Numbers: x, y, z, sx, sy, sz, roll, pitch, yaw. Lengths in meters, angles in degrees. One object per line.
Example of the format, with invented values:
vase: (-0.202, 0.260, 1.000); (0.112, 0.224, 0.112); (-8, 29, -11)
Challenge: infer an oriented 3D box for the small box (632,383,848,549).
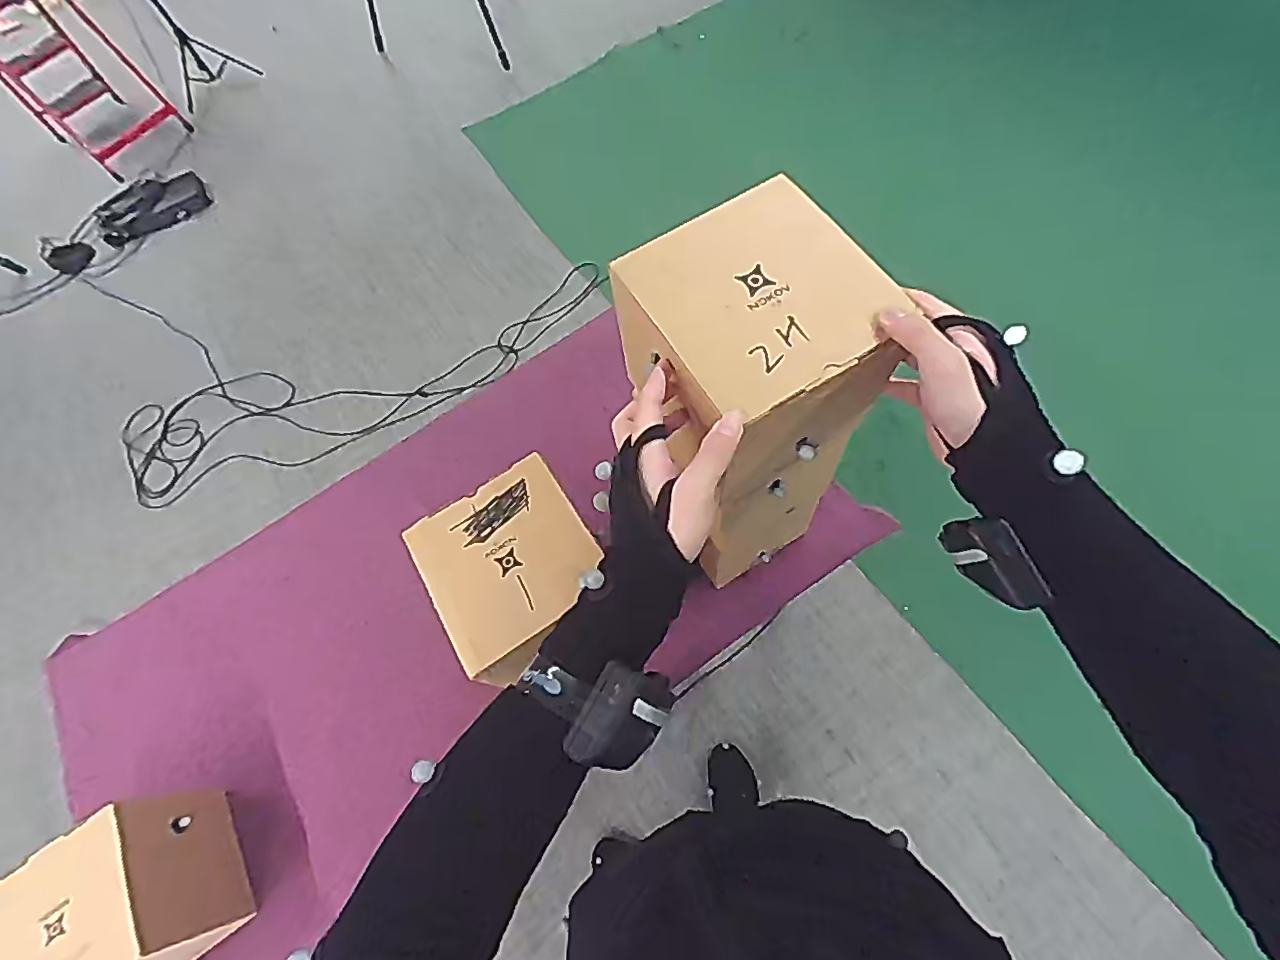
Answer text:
small box: (0.110, -0.046, 0.644); (0.168, 0.176, 0.179); (-31, 65, -6)

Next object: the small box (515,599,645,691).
small box: (-0.108, 0.175, 0.756); (0.168, 0.176, 0.179); (-33, 65, -8)

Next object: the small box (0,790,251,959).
small box: (-0.630, 0.509, 0.662); (0.168, 0.176, 0.179); (-35, 66, -9)

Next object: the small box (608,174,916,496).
small box: (0.090, -0.114, 0.474); (0.168, 0.176, 0.179); (-29, 70, -6)

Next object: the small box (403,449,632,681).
small box: (-0.127, 0.104, 0.609); (0.168, 0.176, 0.179); (-32, 66, -8)
